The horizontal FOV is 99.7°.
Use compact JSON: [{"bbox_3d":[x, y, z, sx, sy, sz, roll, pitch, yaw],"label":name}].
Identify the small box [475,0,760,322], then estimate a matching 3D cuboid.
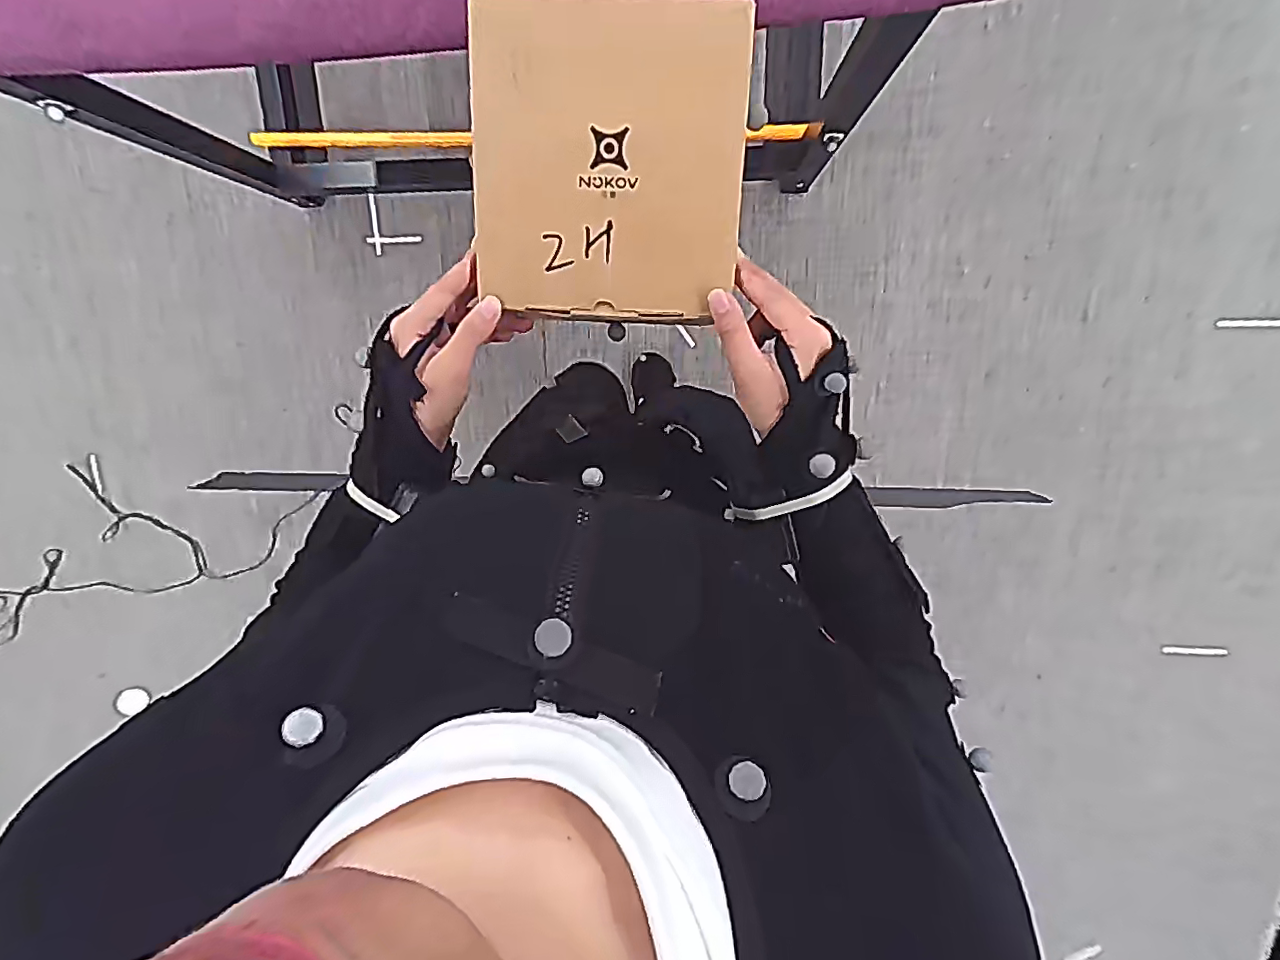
[{"bbox_3d":[-0.015,-0.217,0.402,0.168,0.176,0.179,4,104,2],"label":"small box"}]
